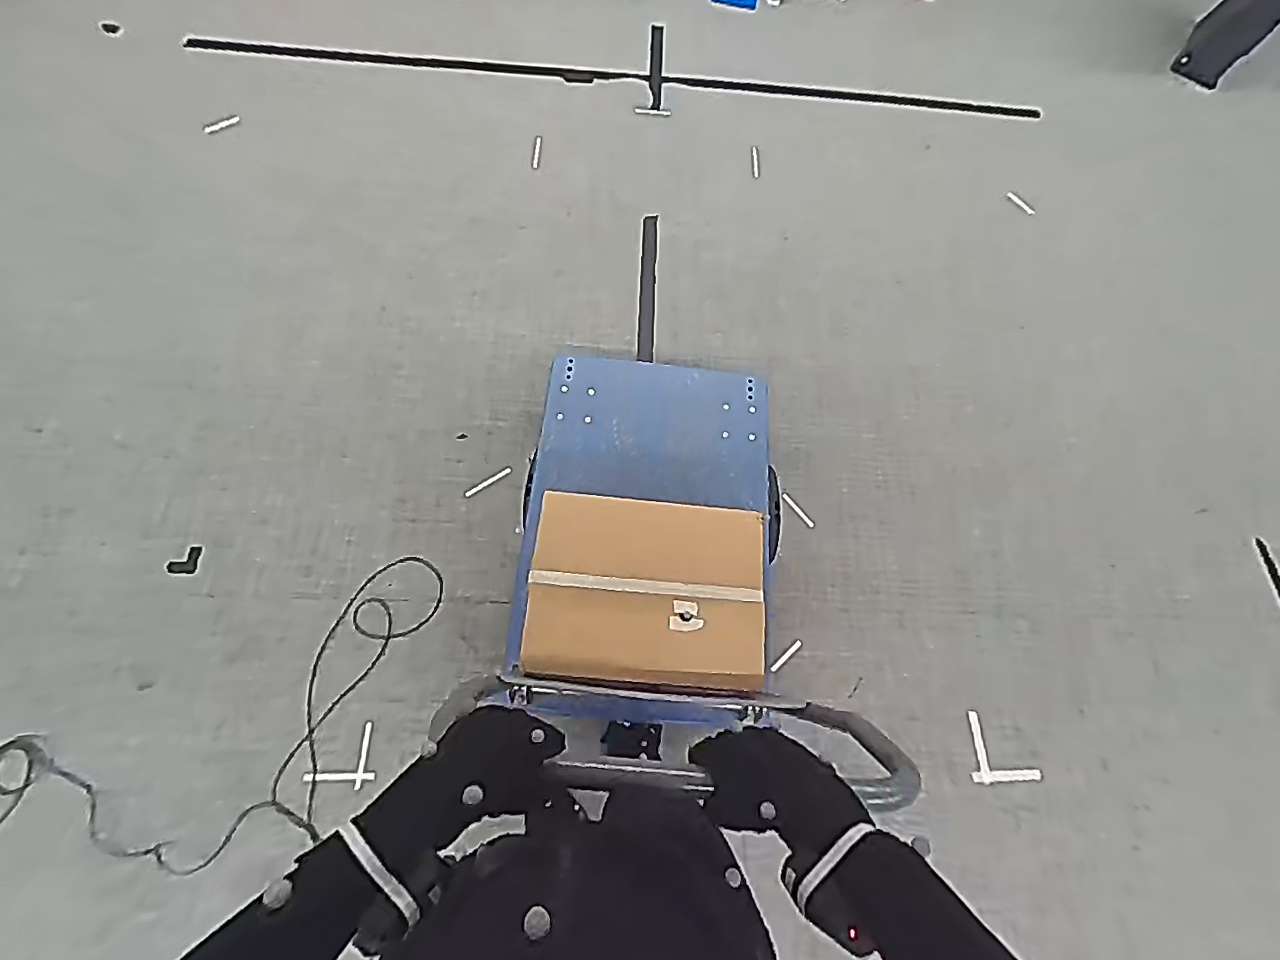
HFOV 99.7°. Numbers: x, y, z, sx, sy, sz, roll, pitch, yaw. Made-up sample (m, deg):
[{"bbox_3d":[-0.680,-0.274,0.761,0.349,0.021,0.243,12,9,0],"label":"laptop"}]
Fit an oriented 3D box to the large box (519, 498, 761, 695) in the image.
[{"bbox_3d":[-0.004,0.245,1.065,0.408,0.320,0.320,6,69,-3],"label":"large box"}]
